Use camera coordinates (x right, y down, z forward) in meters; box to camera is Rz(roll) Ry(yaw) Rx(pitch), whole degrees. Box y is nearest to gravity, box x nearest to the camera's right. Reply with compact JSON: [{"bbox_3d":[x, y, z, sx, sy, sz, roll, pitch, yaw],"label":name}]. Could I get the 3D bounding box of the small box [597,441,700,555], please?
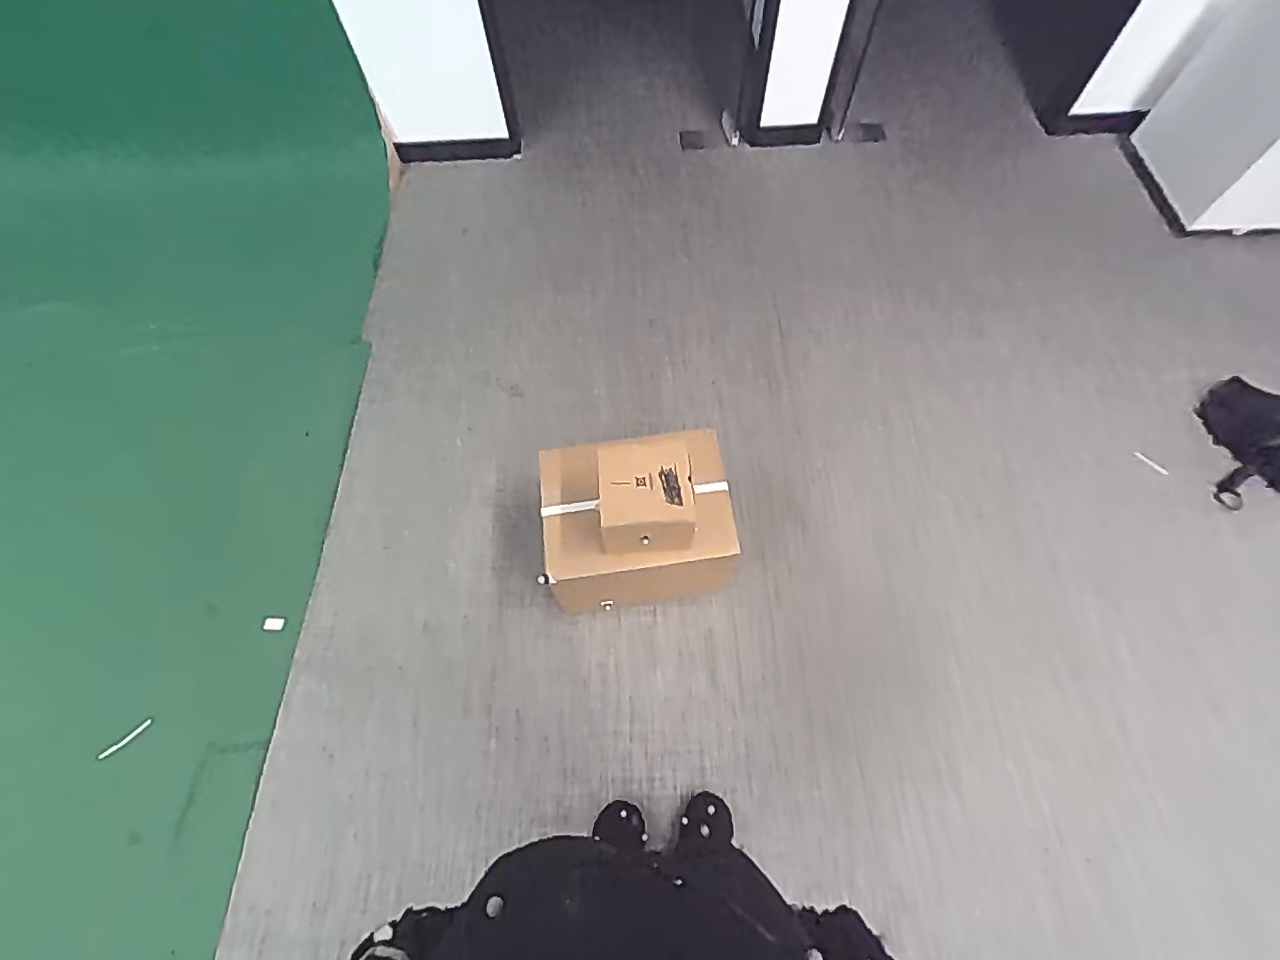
[{"bbox_3d":[0.011,0.040,1.066,0.179,0.176,0.168,-6,65,-3],"label":"small box"}]
